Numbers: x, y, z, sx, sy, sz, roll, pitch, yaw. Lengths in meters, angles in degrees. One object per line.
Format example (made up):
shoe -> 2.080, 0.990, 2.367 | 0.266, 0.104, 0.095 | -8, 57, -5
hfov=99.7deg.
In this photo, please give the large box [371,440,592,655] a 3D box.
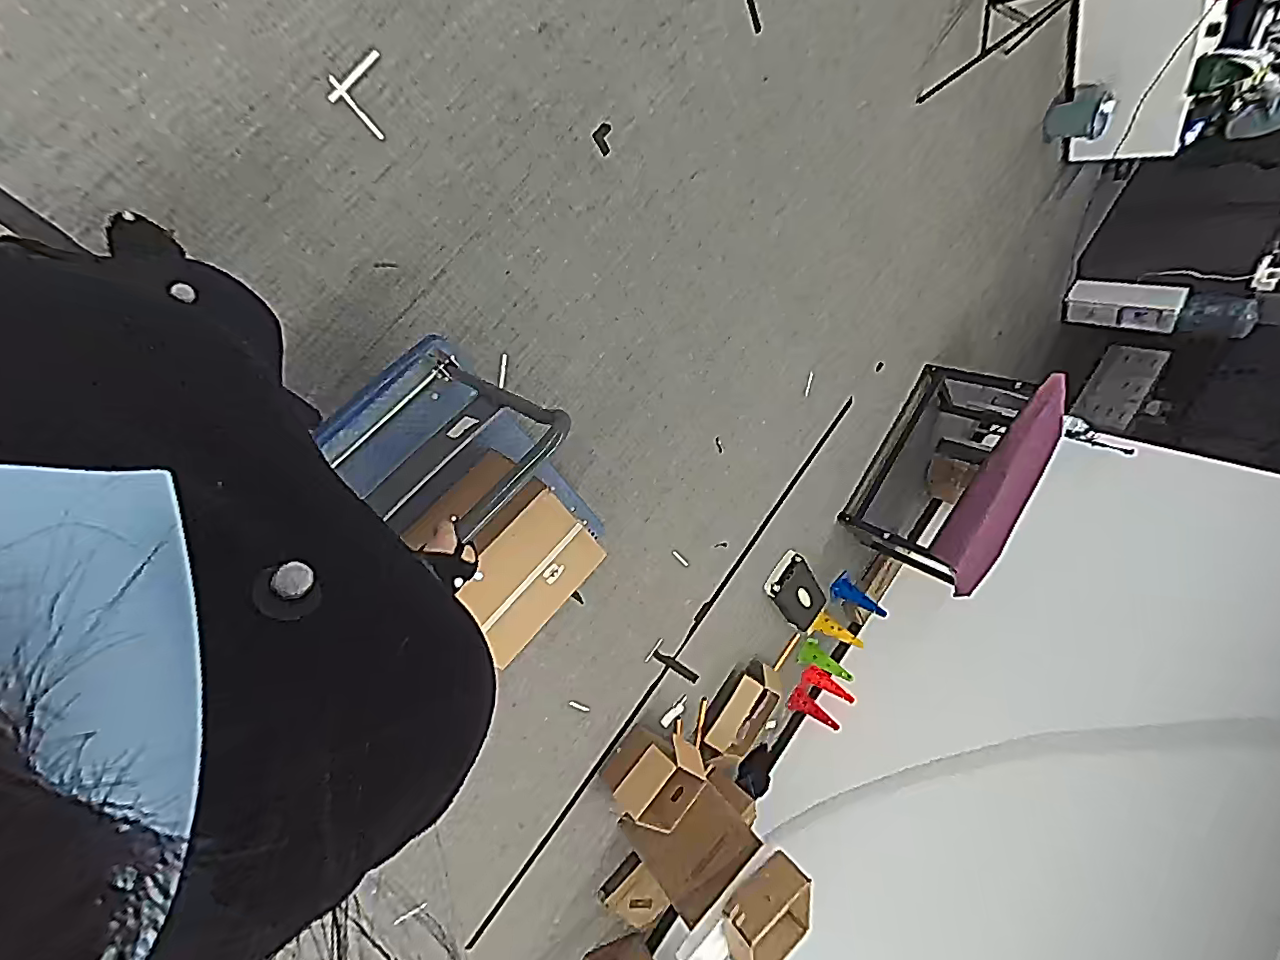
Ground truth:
large box -> -0.413, 0.167, 1.429 | 0.408, 0.320, 0.320 | -48, 135, -15
